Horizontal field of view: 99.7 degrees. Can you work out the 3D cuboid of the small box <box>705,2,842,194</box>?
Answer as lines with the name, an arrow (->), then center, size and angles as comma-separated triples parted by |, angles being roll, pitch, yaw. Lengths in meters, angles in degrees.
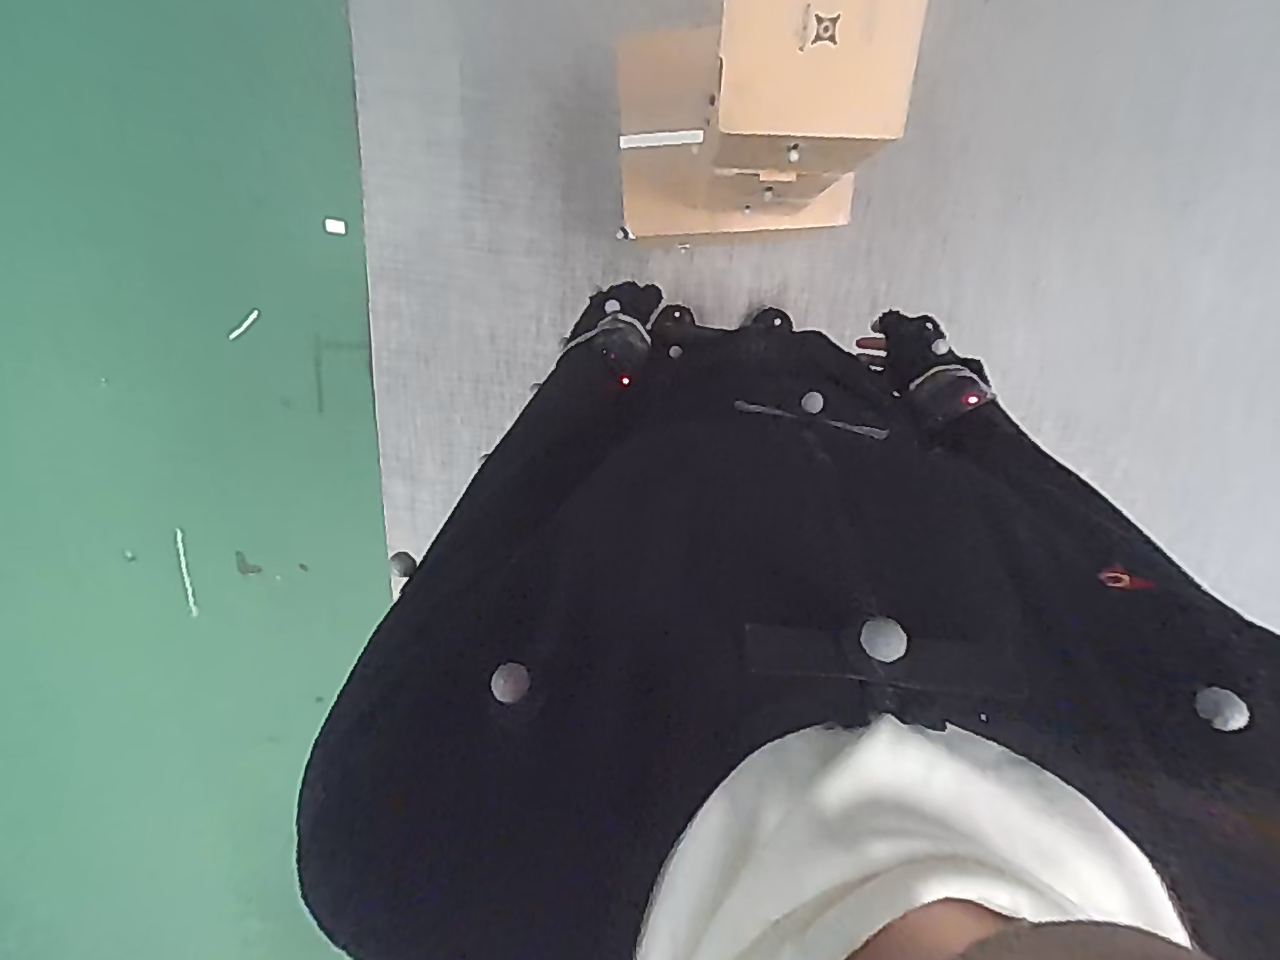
small box -> 0.174, -0.482, 0.706 | 0.168, 0.176, 0.179 | 3, 110, 4

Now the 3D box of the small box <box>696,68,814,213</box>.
small box -> 0.184, -0.529, 0.862 | 0.179, 0.176, 0.168 | 5, 110, 4

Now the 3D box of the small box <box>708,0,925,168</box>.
small box -> 0.165, -0.428, 0.552 | 0.179, 0.176, 0.168 | 4, 111, 2
